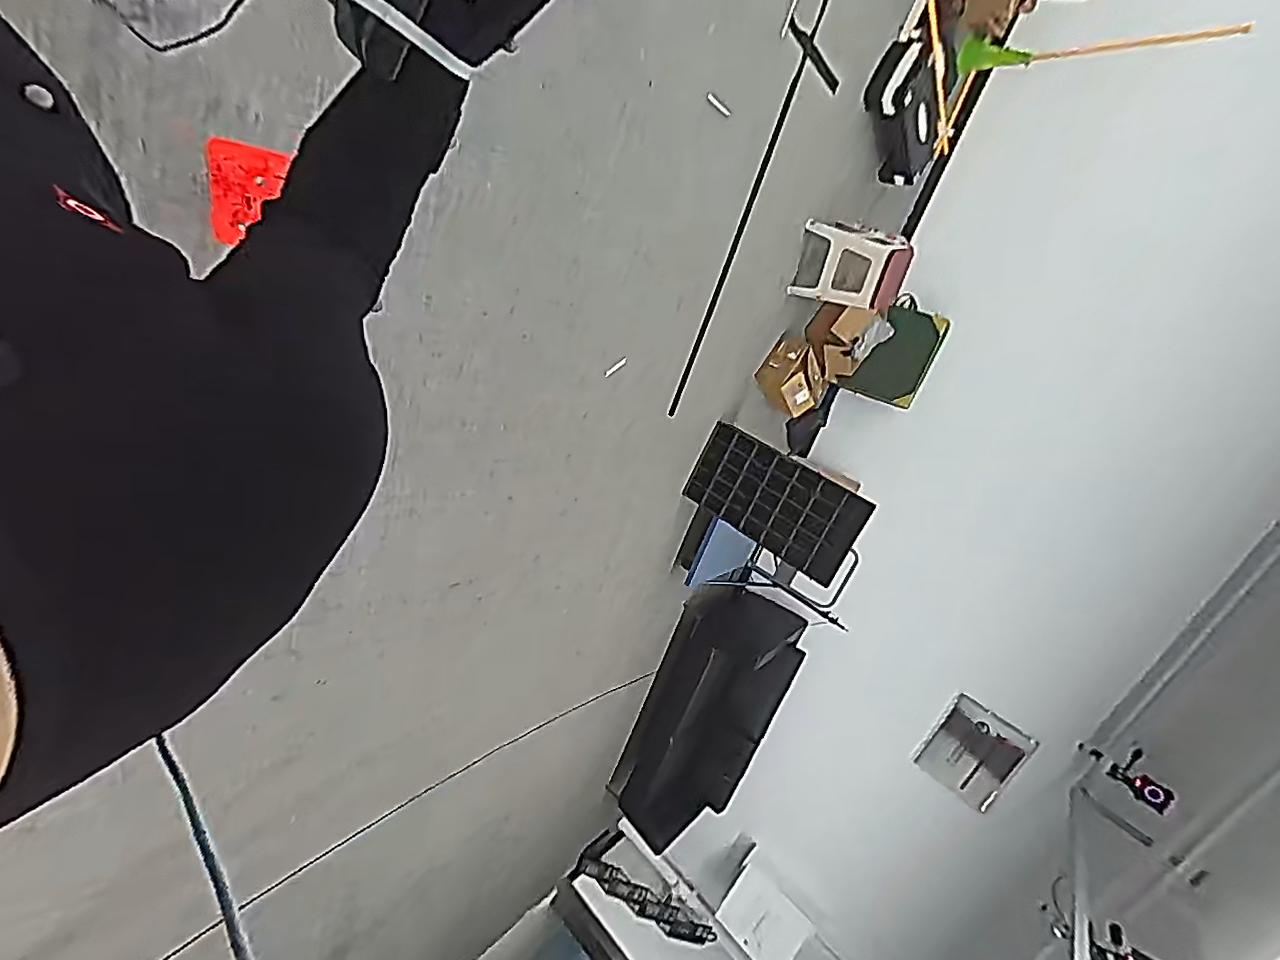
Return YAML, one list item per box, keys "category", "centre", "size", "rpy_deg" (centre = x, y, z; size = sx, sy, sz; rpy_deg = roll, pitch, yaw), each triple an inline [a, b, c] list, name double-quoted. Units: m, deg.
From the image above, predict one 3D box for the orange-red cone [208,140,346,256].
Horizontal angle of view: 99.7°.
- category: "orange-red cone"
  centre: [-0.671, -0.507, 1.060]
  size: [0.199, 0.360, 0.198]
  rpy_deg: [-15, 130, -49]
